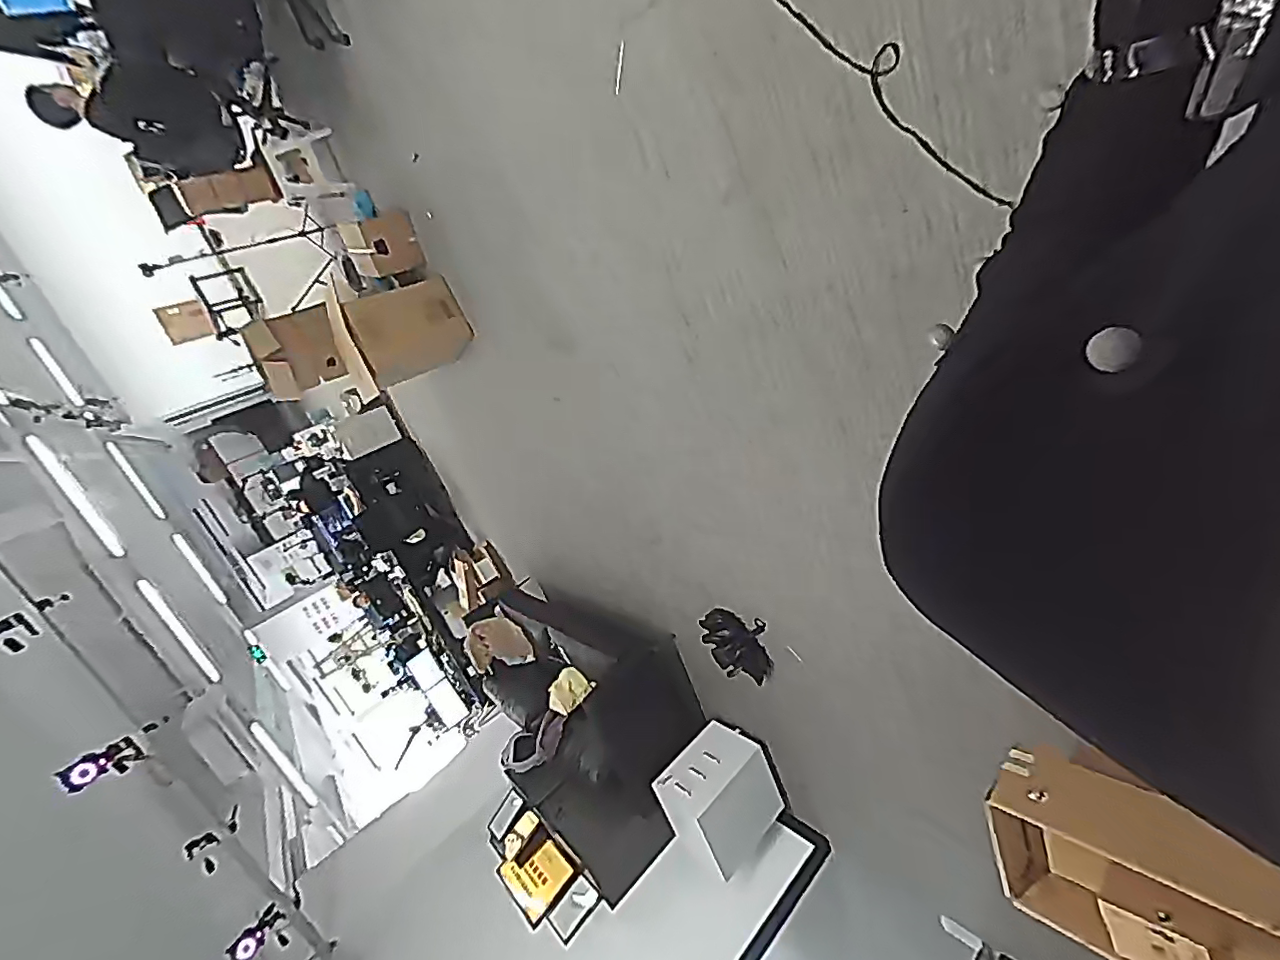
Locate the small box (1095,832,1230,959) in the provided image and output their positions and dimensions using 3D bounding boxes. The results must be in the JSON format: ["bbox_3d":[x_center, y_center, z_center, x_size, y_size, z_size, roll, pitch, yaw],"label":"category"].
[{"bbox_3d":[1.093,0.895,1.129,0.168,0.176,0.179,-8,113,55],"label":"small box"}]
